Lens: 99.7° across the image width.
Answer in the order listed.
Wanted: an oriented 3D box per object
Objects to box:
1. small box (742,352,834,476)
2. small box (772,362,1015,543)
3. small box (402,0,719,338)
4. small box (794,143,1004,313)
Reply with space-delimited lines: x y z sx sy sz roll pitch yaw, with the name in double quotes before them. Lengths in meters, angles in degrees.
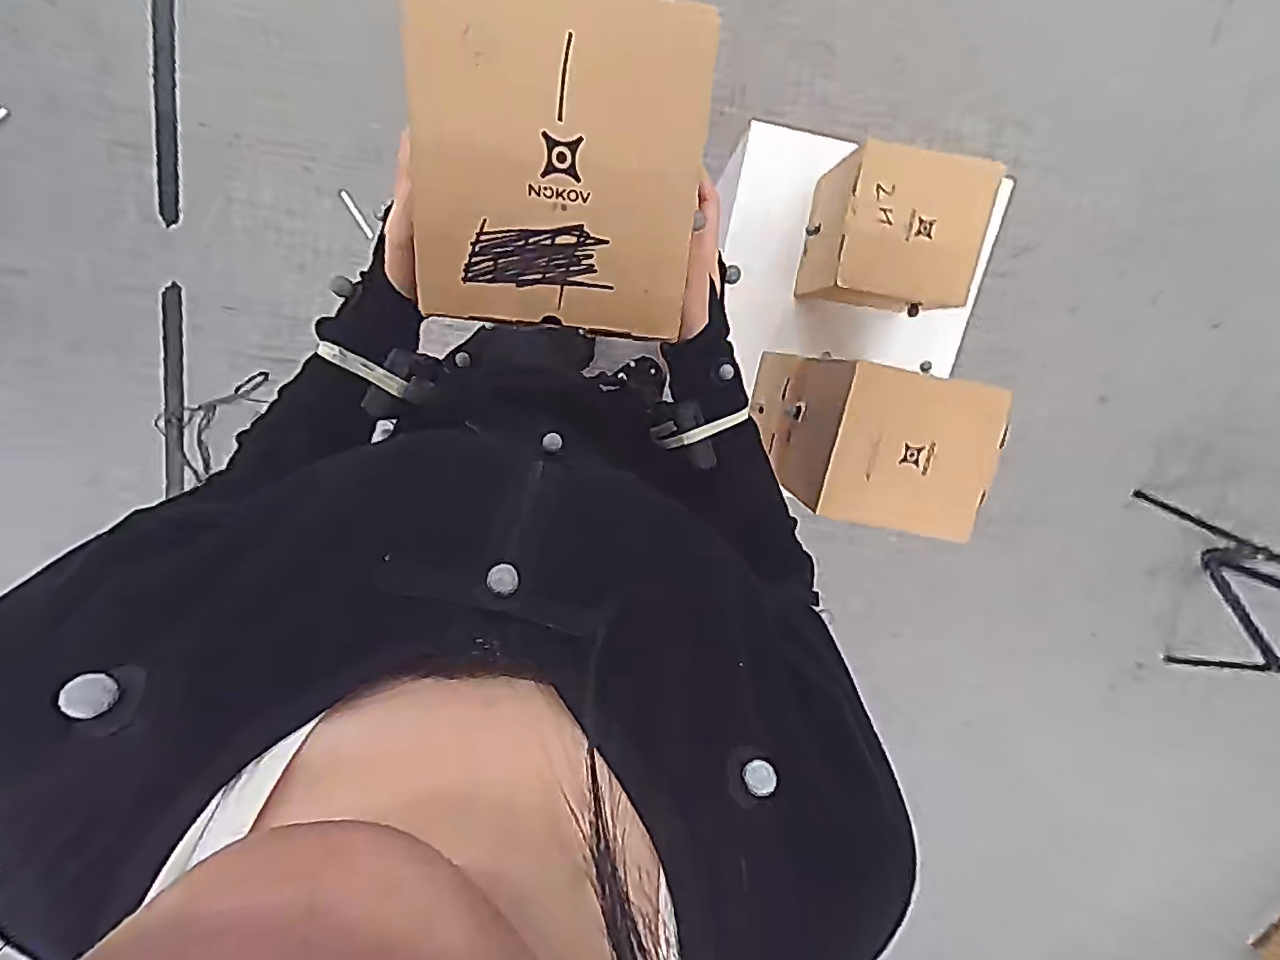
"small box" 0.260 -0.085 0.791 0.179 0.176 0.168 12 103 -3
"small box" 0.276 -0.043 0.633 0.179 0.176 0.168 10 102 -4
"small box" -0.054 -0.210 0.382 0.168 0.176 0.179 4 113 -7
"small box" 0.331 -0.323 0.730 0.179 0.176 0.168 8 104 -3
